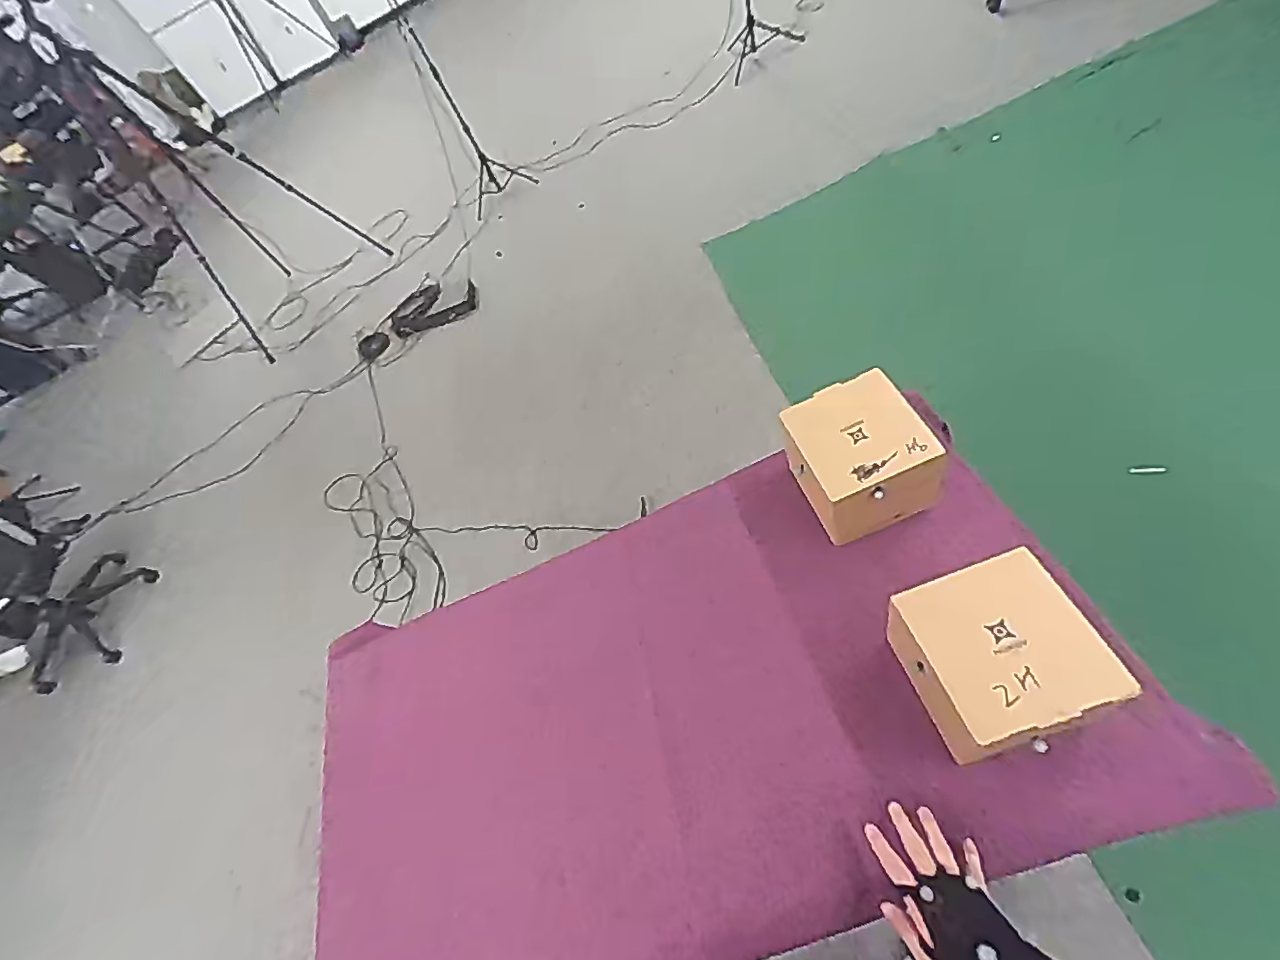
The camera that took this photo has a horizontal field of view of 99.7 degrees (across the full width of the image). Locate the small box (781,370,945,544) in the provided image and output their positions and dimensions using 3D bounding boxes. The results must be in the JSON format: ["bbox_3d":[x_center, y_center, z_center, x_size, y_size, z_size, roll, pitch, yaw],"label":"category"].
[{"bbox_3d":[0.338,-0.030,0.843,0.168,0.176,0.179,-25,55,8],"label":"small box"}]

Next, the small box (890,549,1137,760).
[{"bbox_3d":[0.422,0.216,0.654,0.168,0.176,0.179,-23,53,8],"label":"small box"}]
